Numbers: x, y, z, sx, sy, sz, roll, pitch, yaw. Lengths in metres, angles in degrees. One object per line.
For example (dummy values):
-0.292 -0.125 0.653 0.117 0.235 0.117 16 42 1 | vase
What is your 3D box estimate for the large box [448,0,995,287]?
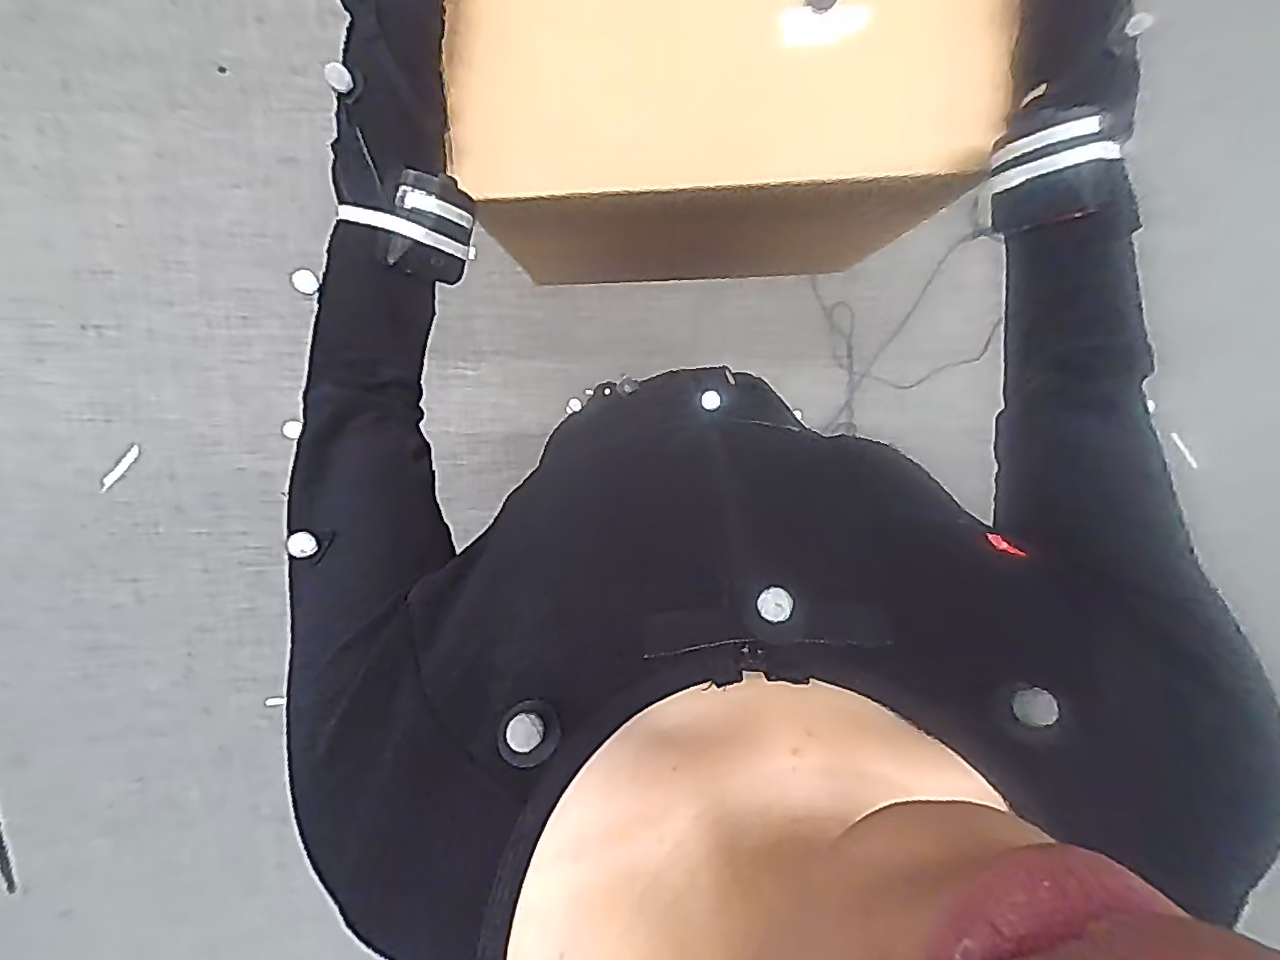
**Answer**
0.055 -0.395 0.535 0.408 0.320 0.320 -3 98 0 | large box
